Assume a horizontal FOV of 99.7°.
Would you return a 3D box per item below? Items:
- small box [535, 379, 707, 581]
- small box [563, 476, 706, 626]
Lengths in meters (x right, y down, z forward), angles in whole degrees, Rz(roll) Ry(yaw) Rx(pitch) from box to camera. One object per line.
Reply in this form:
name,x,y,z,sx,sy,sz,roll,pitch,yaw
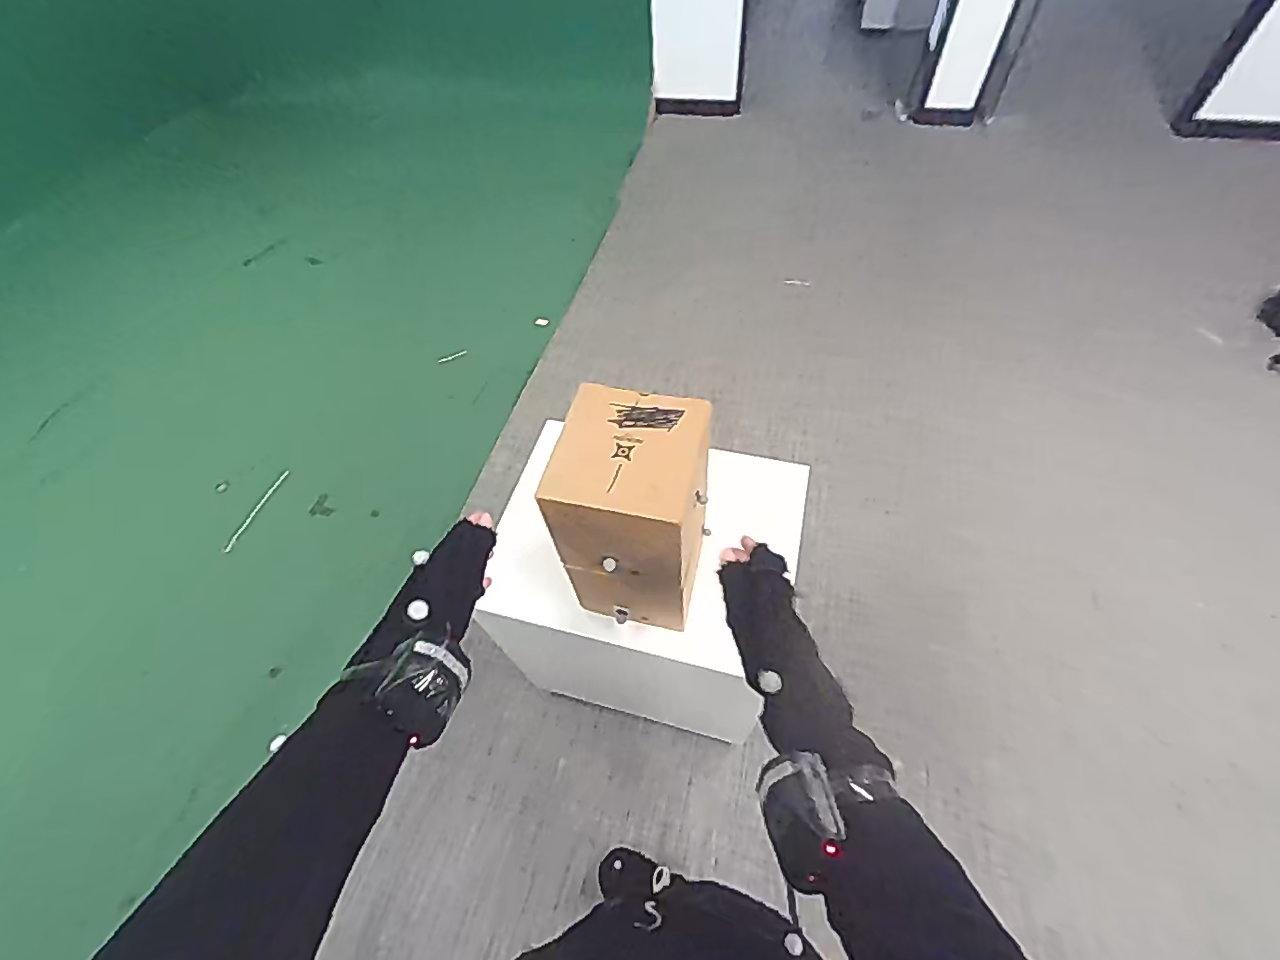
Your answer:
small box,-0.012,0.002,0.674,0.168,0.176,0.179,7,56,10
small box,0.002,0.096,0.808,0.168,0.176,0.179,8,59,12
